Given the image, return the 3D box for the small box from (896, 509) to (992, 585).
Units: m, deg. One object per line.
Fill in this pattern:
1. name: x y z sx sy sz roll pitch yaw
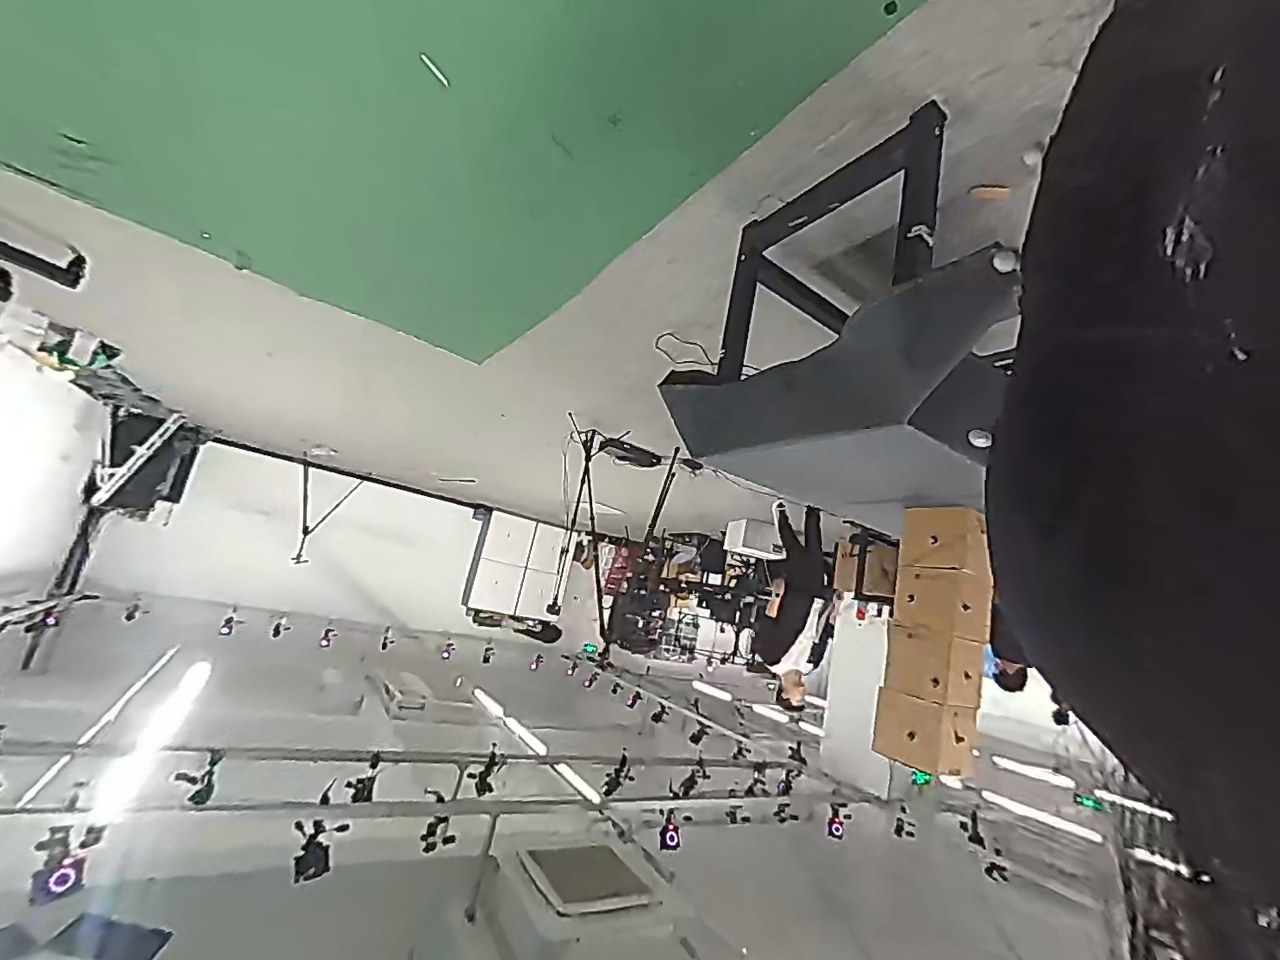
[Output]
1. small box: 0.831 0.181 1.474 0.168 0.176 0.179 19 165 -31

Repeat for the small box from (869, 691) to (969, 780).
1. small box: 0.721 0.652 1.393 0.168 0.176 0.179 19 166 -30

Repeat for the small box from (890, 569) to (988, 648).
1. small box: 0.799 0.338 1.443 0.179 0.176 0.168 19 167 -29
